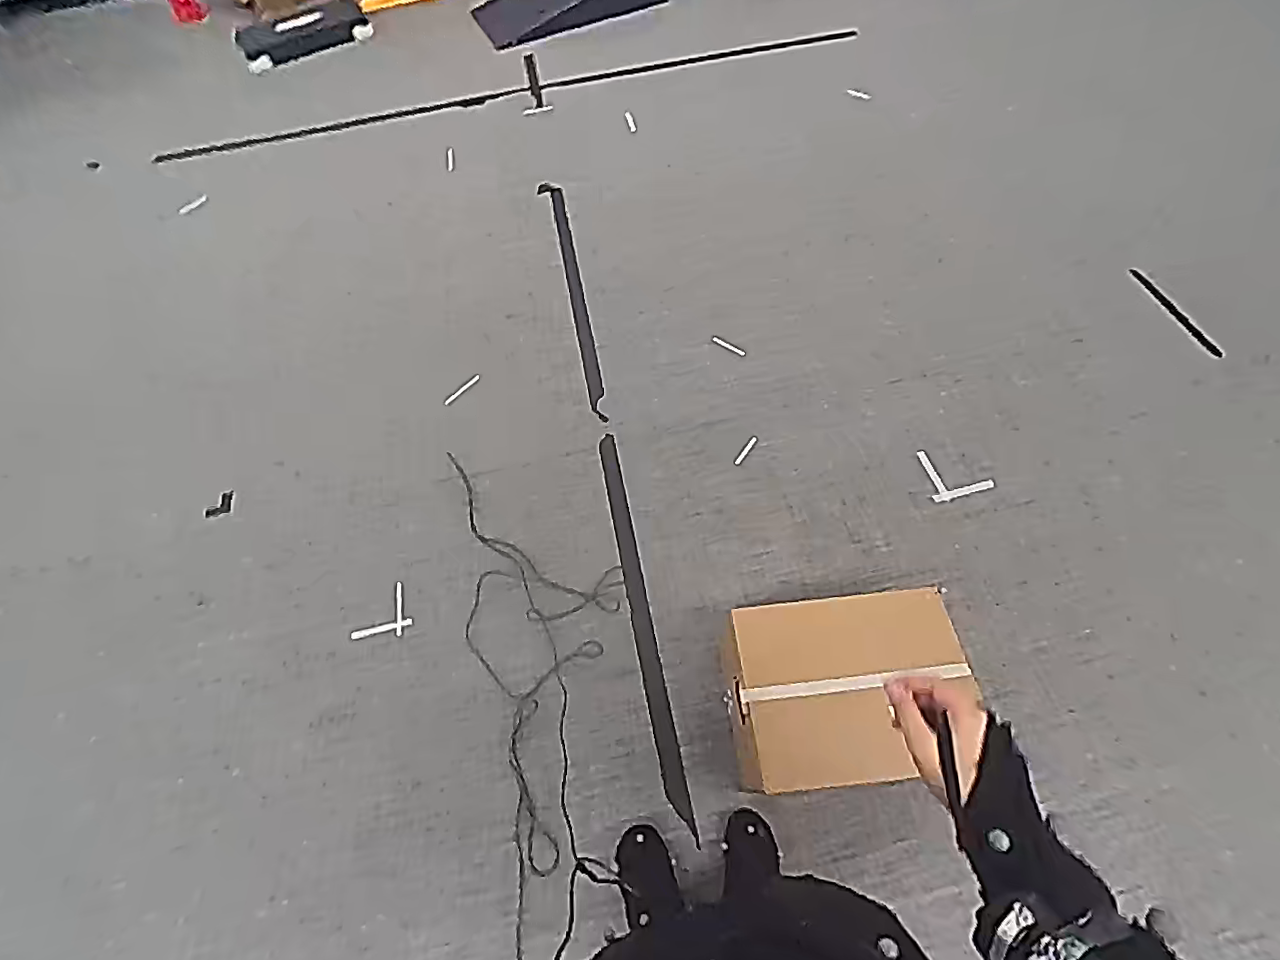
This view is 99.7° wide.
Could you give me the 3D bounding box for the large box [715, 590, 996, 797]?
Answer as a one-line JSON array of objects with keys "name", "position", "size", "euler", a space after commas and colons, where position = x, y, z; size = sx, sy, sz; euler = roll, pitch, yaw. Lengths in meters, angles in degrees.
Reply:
[{"name": "large box", "position": [0.386, 0.440, 1.095], "size": [0.408, 0.320, 0.320], "euler": [-6, 61, -1]}]
